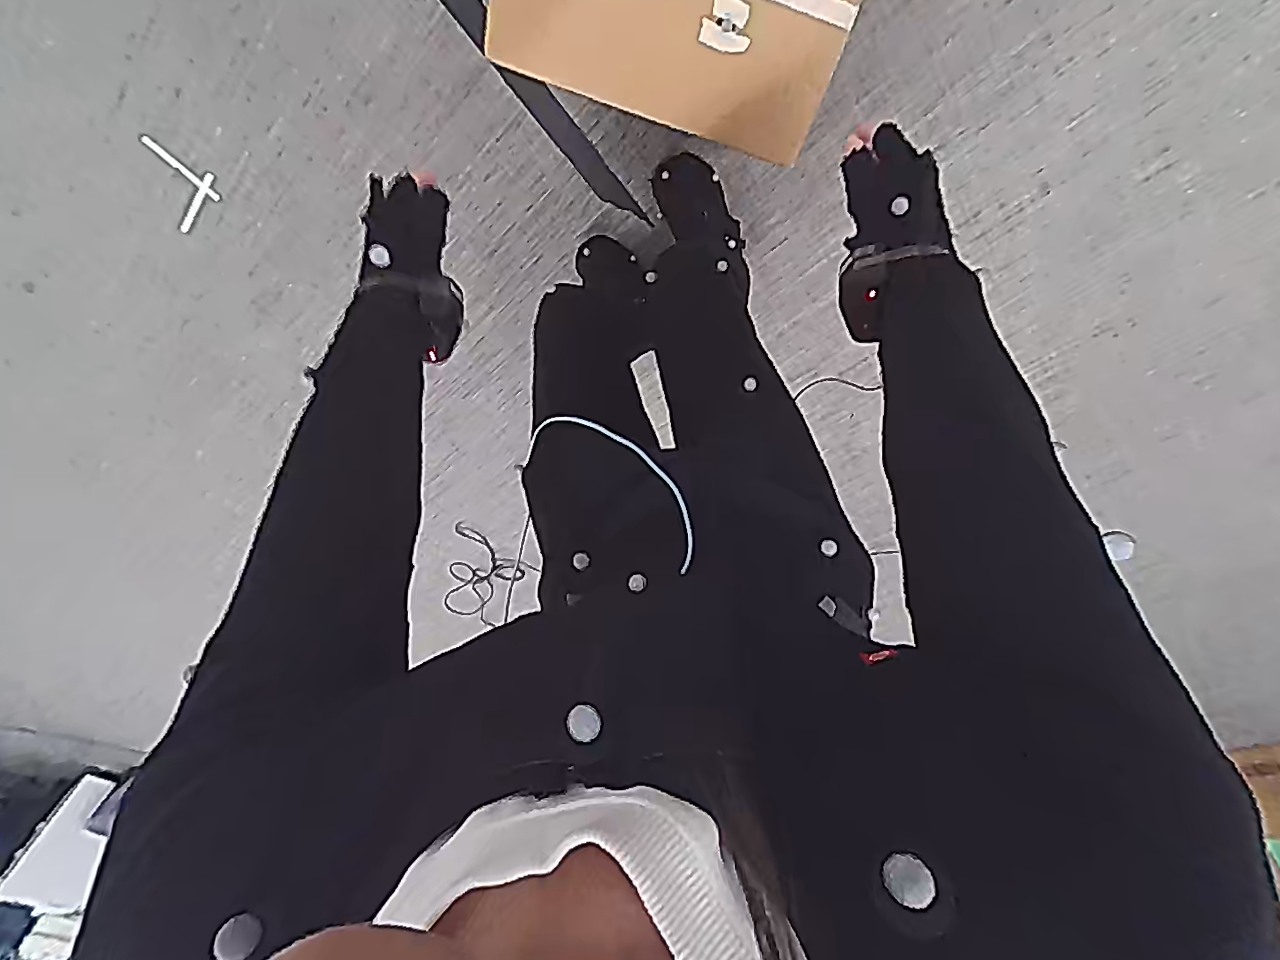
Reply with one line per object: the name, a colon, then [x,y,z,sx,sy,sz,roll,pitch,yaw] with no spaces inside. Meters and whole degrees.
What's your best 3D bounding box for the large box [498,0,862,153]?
large box: [0.062,-0.675,0.695,0.408,0.320,0.320,14,130,-9]
